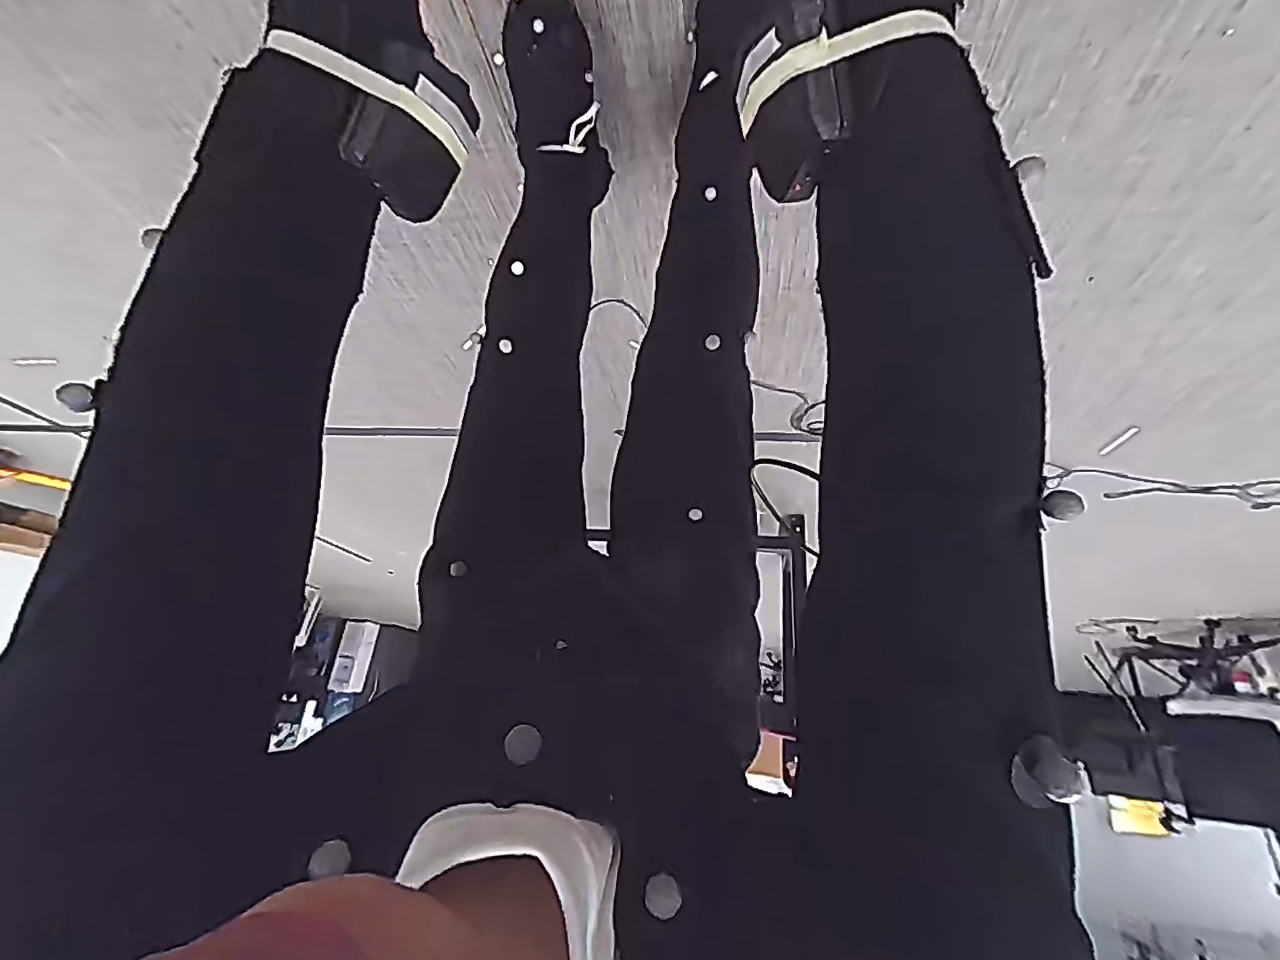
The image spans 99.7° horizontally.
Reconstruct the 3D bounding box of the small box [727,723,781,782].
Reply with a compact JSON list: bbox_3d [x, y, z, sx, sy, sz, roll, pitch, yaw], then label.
[{"bbox_3d":[0.406,0.972,1.936,0.168,0.176,0.179,4,155,3],"label":"small box"}]
